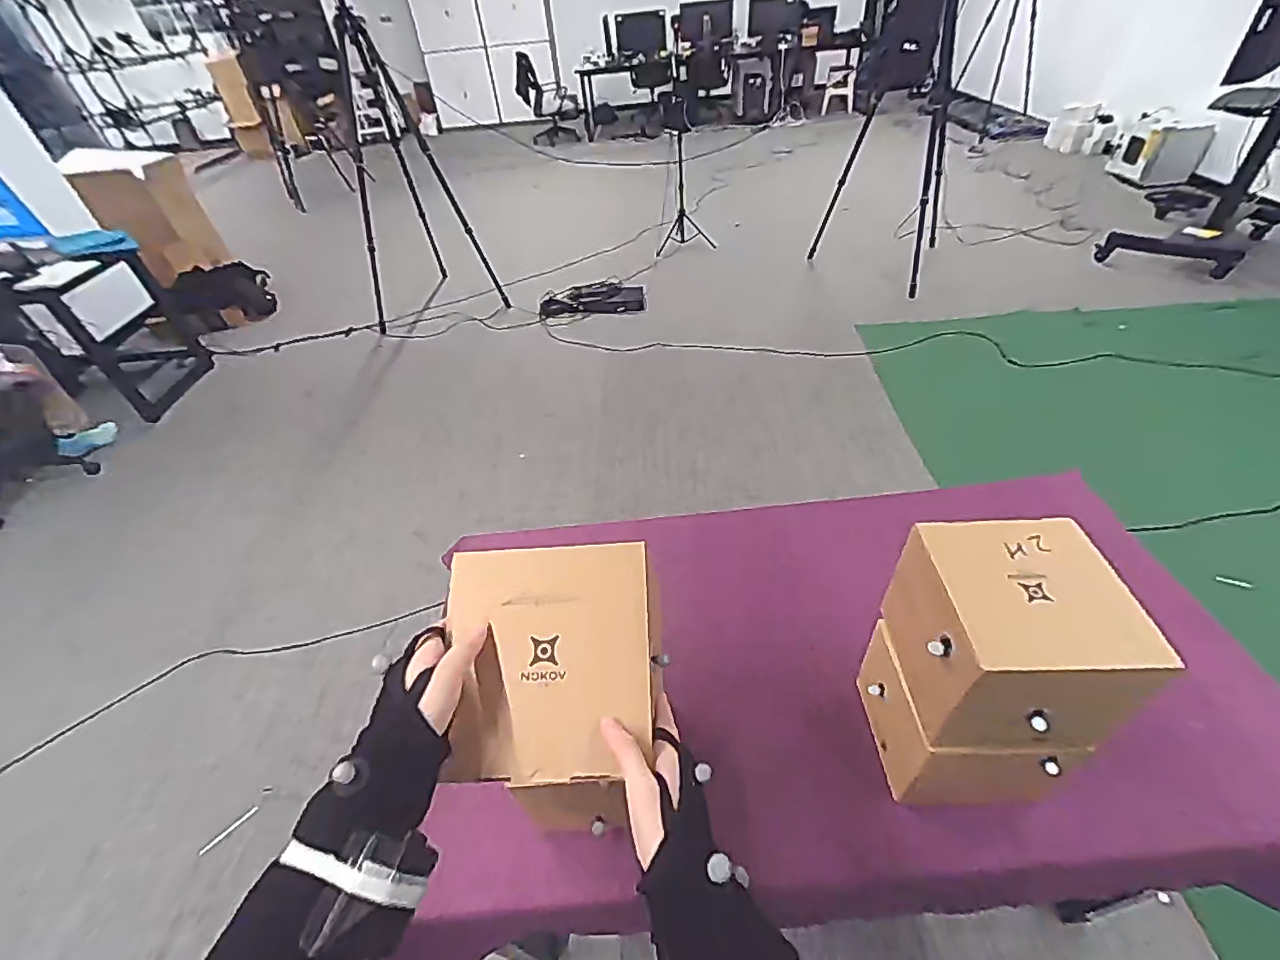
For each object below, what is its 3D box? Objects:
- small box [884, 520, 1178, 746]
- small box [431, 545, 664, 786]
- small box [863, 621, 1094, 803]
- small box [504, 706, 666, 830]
[{"bbox_3d":[0.379,0.163,0.570,0.168,0.176,0.179,-2,42,5],"label":"small box"},{"bbox_3d":[-0.068,0.164,0.493,0.168,0.176,0.179,-4,70,5],"label":"small box"},{"bbox_3d":[0.394,0.288,0.676,0.179,0.176,0.168,-3,42,3],"label":"small box"},{"bbox_3d":[-0.056,0.329,0.691,0.179,0.176,0.168,-4,42,2],"label":"small box"}]
